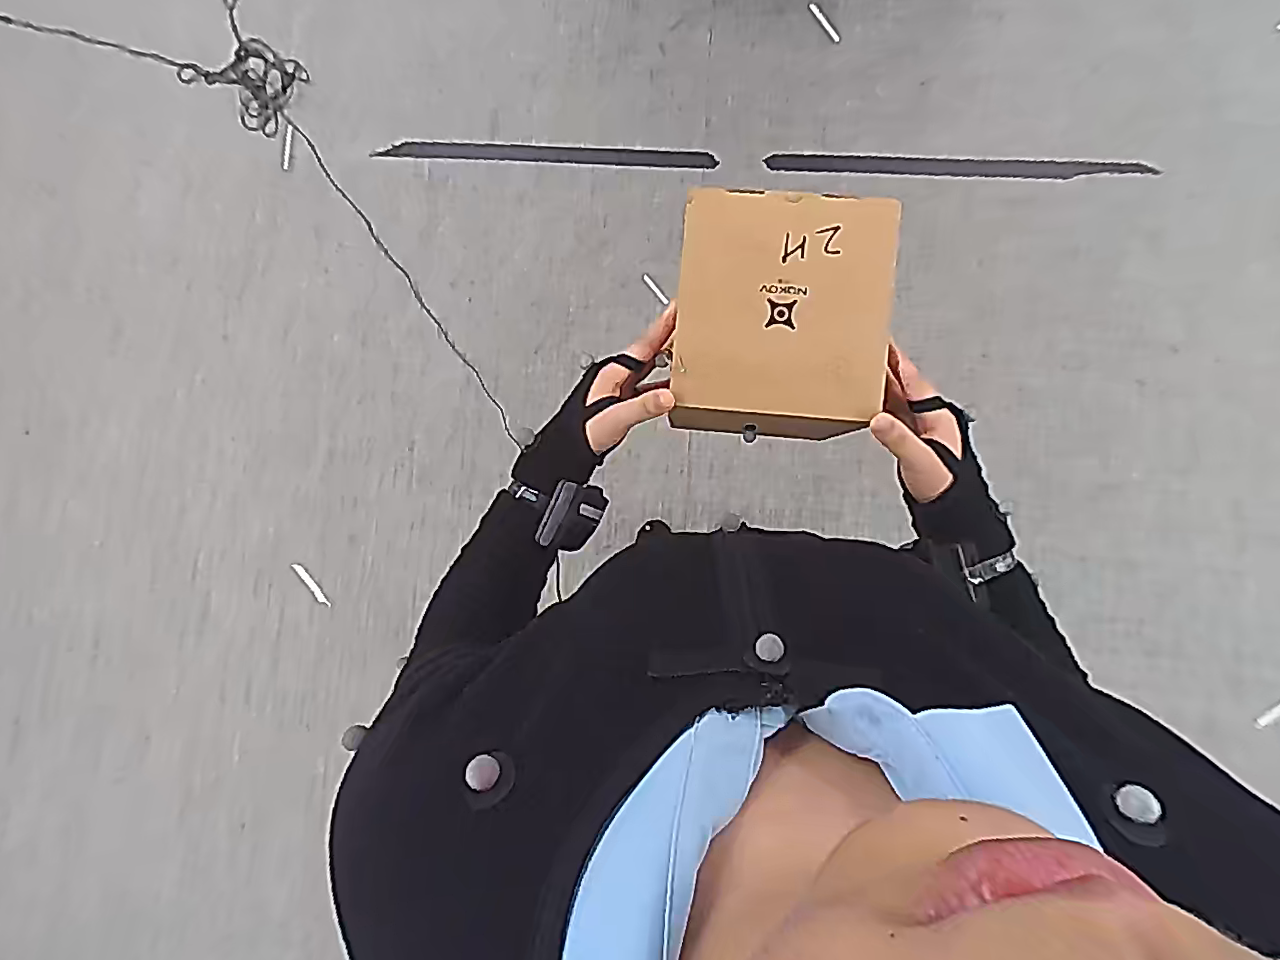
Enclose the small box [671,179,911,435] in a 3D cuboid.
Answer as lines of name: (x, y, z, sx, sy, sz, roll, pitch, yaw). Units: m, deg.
small box: (0.121, -0.139, 0.492, 0.168, 0.176, 0.179, 6, 89, 4)
